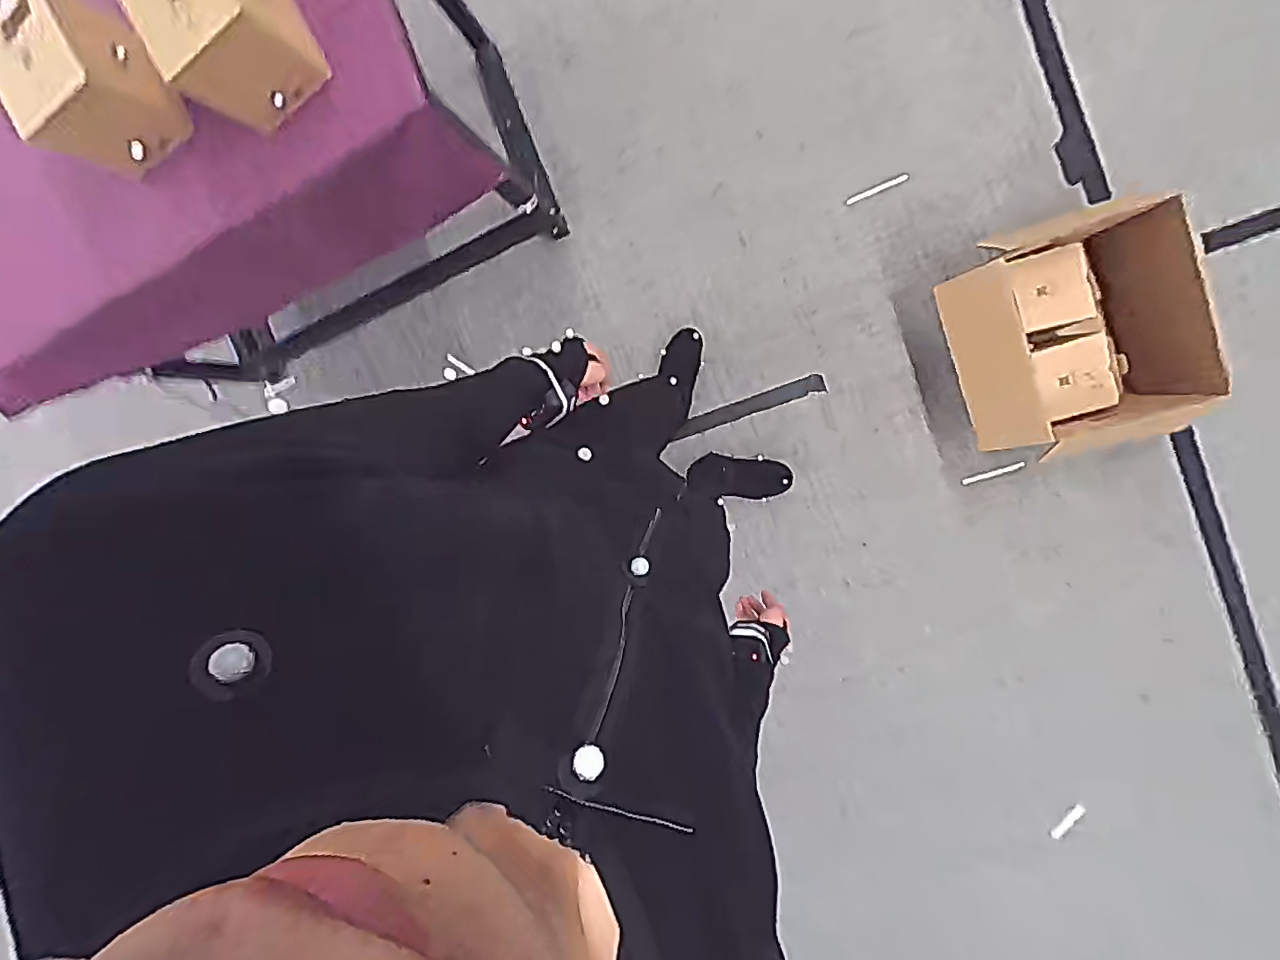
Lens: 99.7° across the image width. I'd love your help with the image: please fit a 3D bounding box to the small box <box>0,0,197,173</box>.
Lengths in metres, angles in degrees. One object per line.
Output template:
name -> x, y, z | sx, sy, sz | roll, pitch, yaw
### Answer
small box -> -0.906, -0.660, 0.900 | 0.168, 0.176, 0.179 | -25, 93, 15
